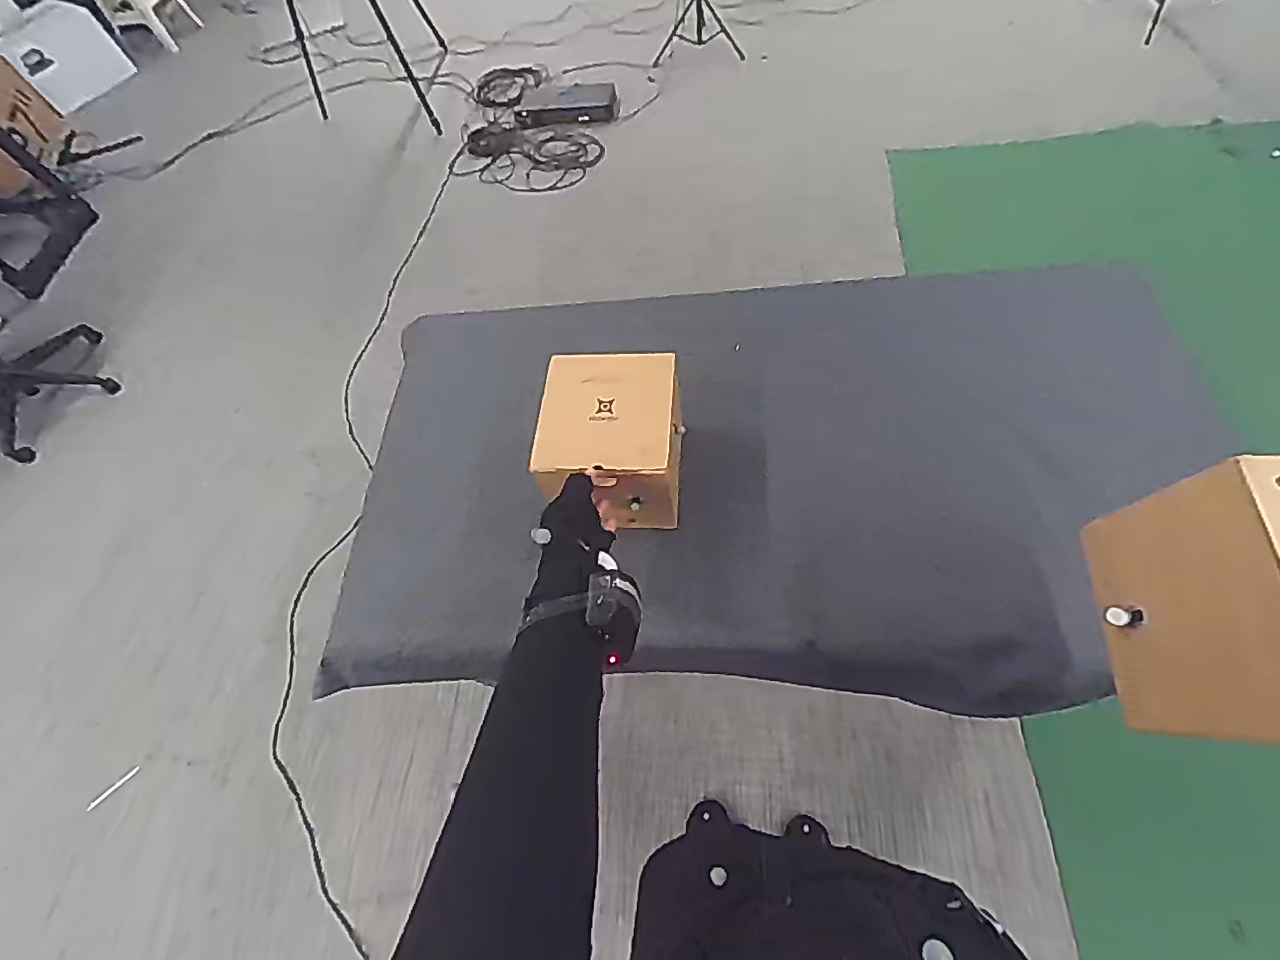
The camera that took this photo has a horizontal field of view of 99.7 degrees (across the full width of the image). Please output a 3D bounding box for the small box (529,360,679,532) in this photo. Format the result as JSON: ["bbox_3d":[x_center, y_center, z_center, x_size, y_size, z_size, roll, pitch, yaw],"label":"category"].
[{"bbox_3d":[-0.034,-0.039,0.728,0.168,0.176,0.179,1,60,7],"label":"small box"}]
